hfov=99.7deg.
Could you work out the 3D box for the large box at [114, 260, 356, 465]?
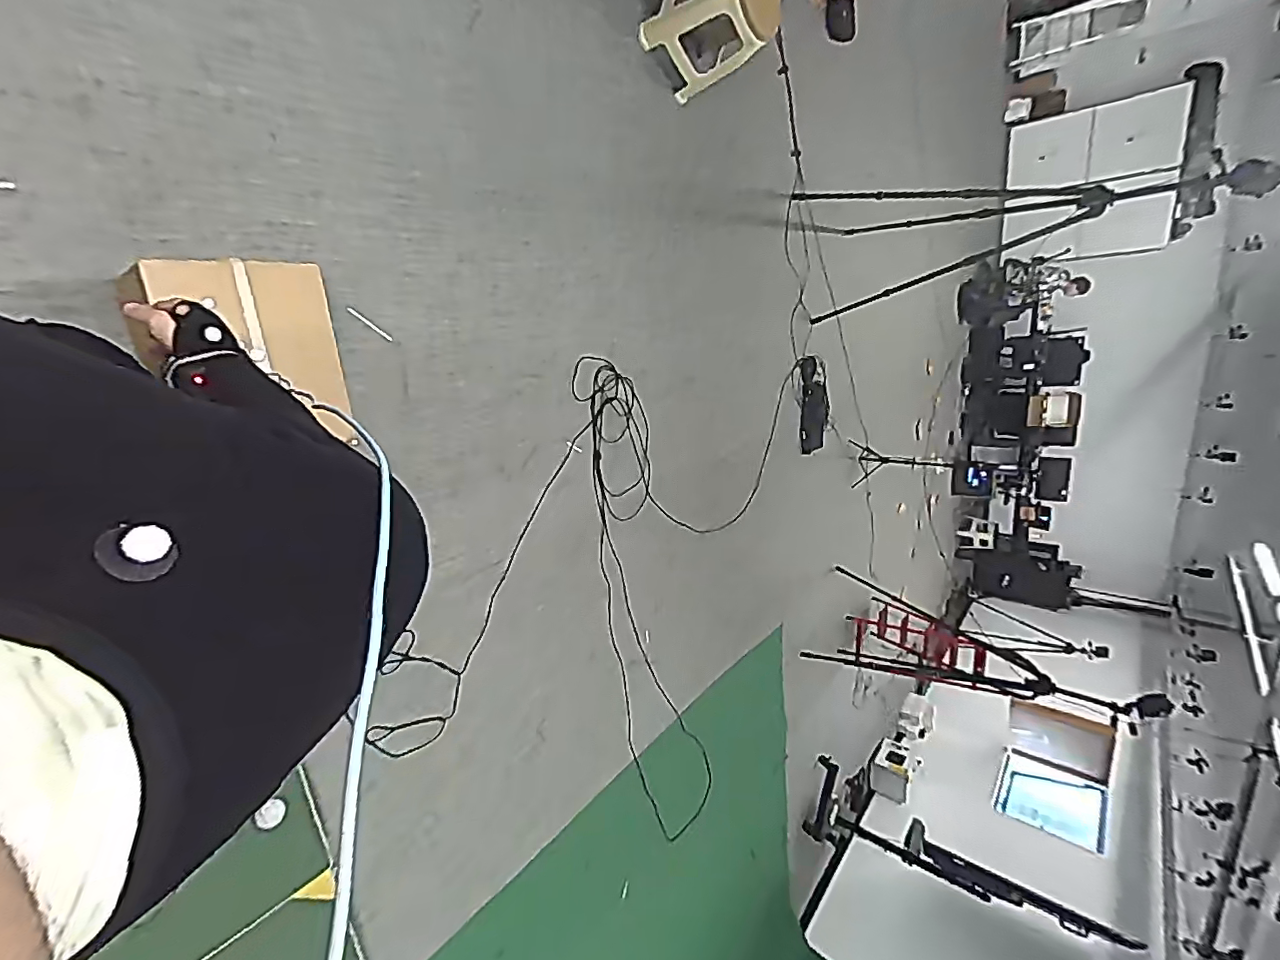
[{"bbox_3d":[-0.922,-0.277,1.248,0.320,0.320,0.408,-22,114,-45],"label":"large box"}]
